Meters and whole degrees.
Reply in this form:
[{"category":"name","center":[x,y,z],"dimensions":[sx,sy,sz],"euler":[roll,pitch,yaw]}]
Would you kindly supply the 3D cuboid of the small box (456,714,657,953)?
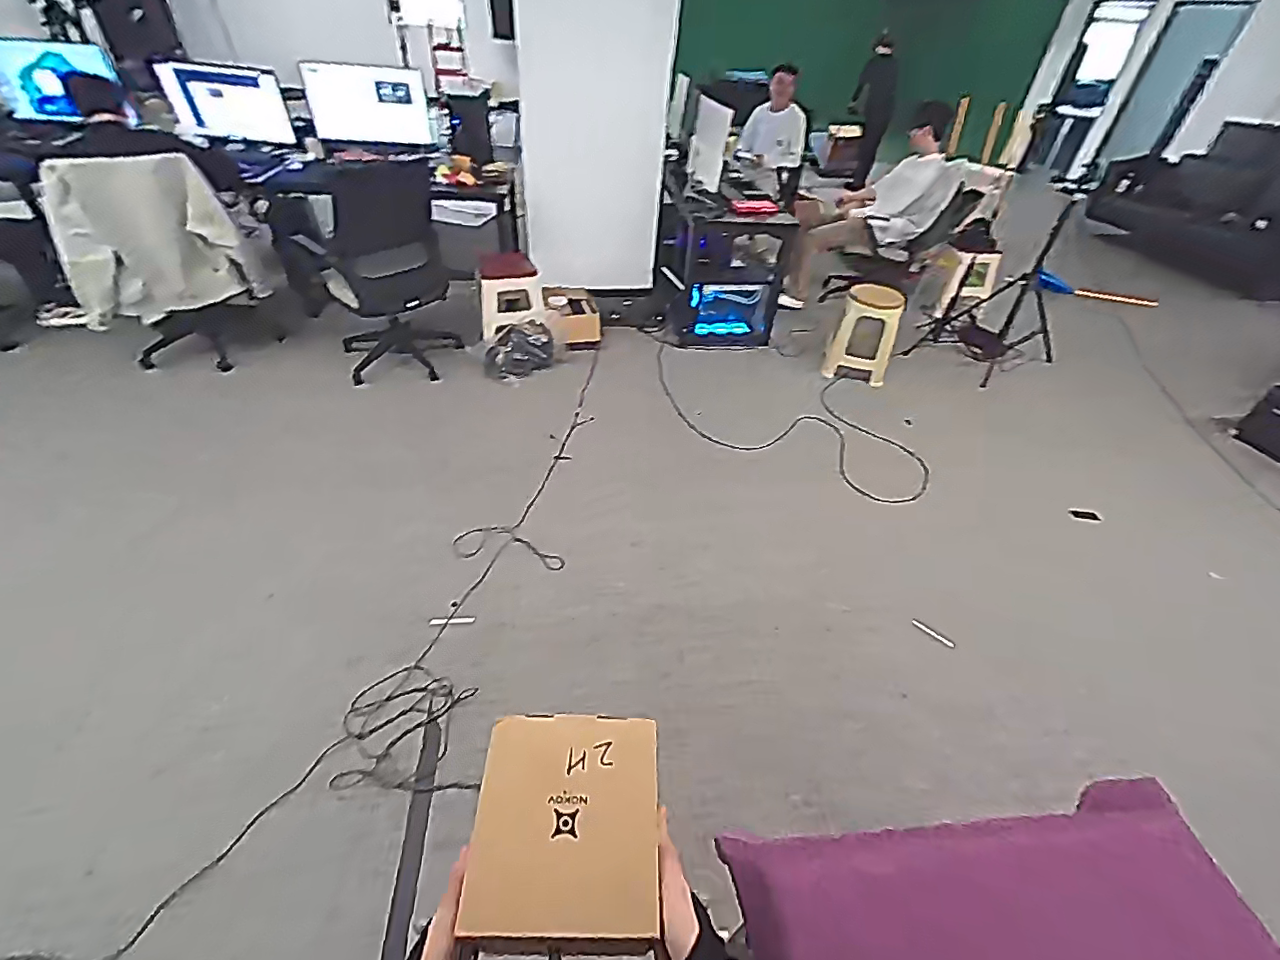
[{"category":"small box","center":[-0.070,0.357,0.544],"dimensions":[0.168,0.176,0.179],"euler":[2,44,-3]}]
